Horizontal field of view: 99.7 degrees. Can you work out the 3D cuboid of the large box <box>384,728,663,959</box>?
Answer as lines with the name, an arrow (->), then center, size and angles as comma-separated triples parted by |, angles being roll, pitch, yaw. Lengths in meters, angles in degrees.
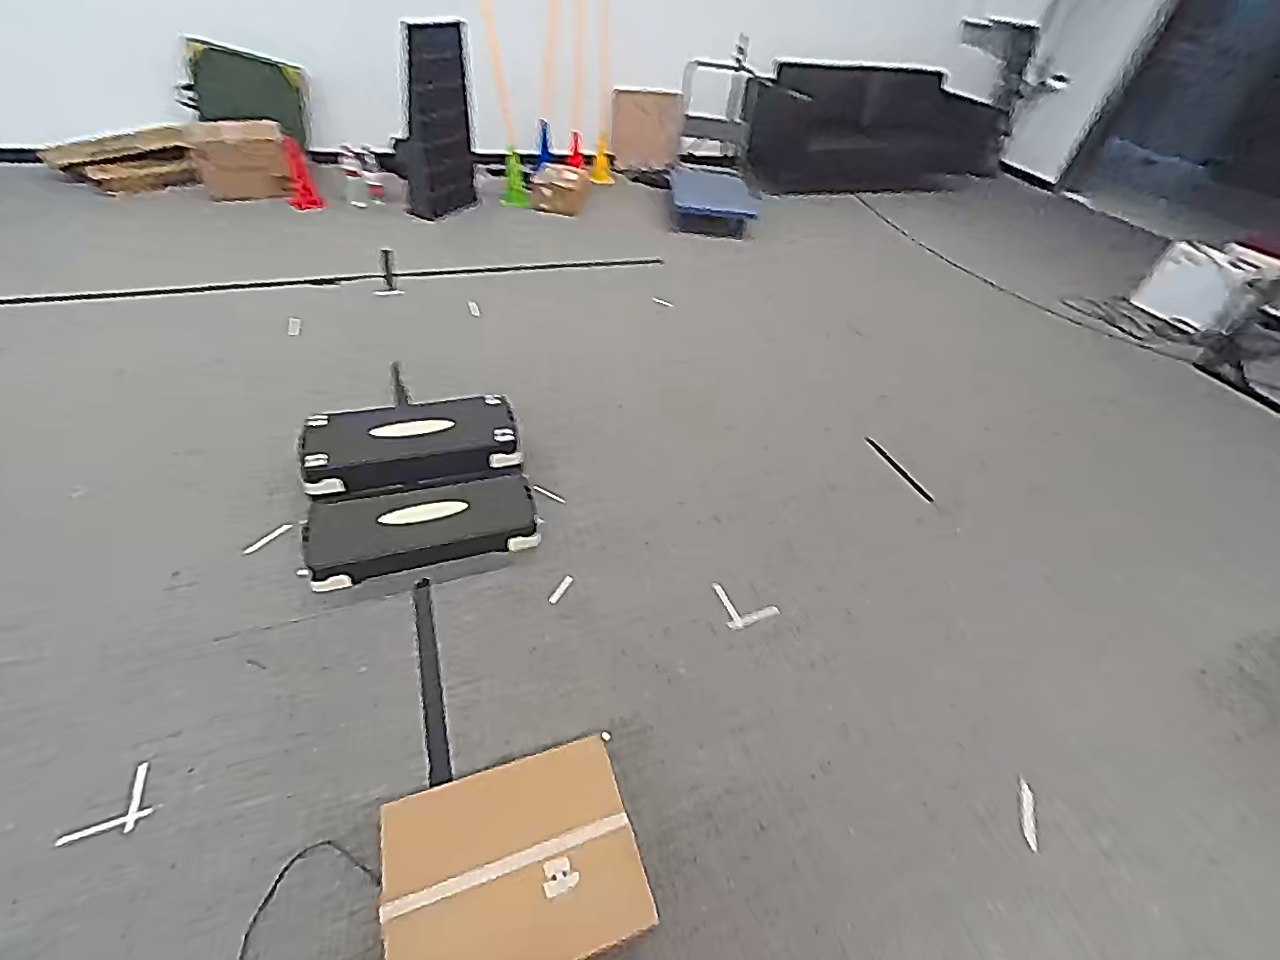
large box -> -0.216, 0.723, 0.986 | 0.408, 0.320, 0.320 | -10, 47, -19

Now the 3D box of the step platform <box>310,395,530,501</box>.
step platform -> -0.728, -0.124, 1.843 | 0.684, 0.204, 0.286 | -5, 46, -16
